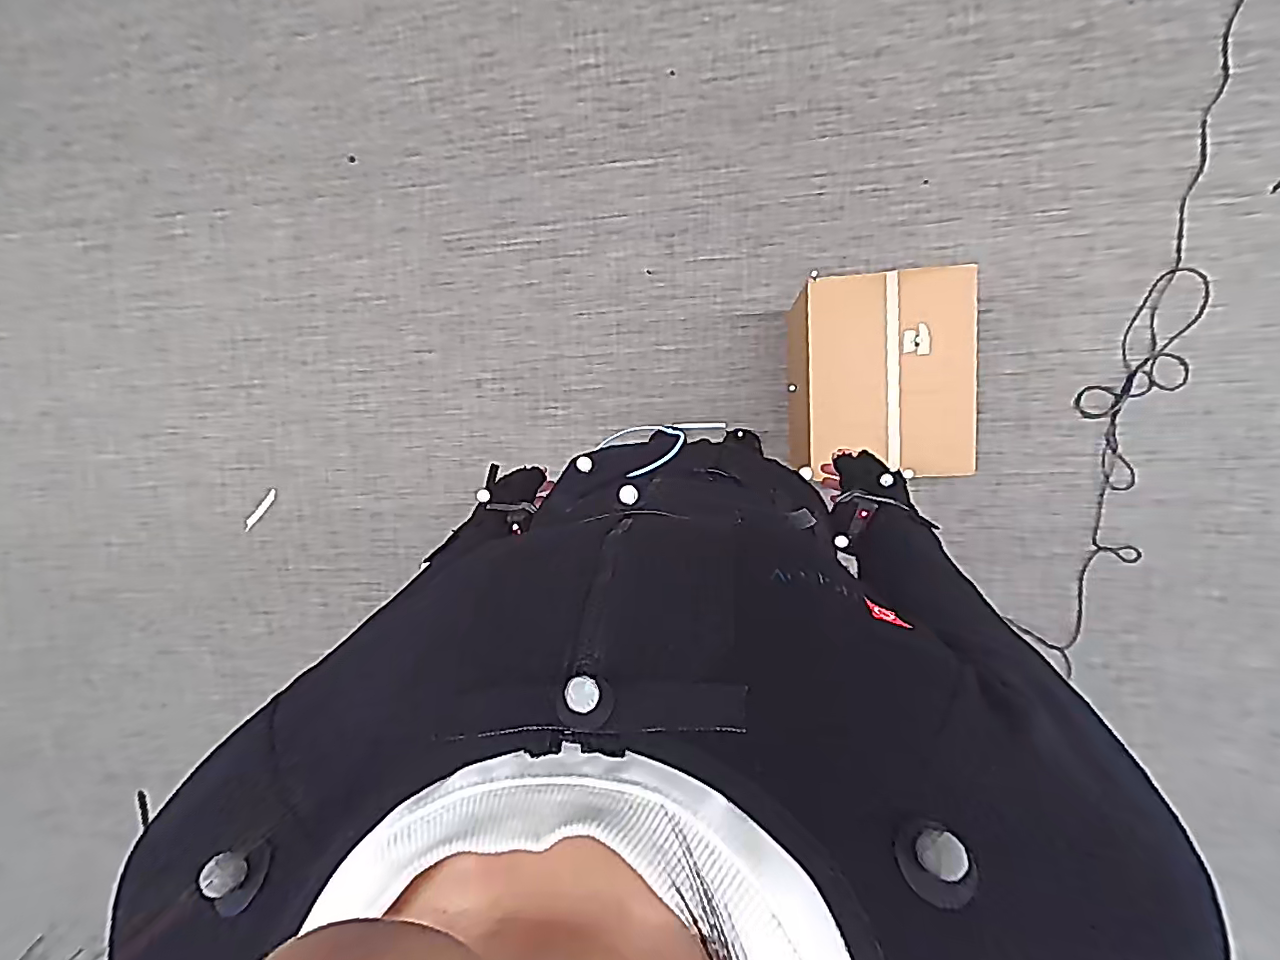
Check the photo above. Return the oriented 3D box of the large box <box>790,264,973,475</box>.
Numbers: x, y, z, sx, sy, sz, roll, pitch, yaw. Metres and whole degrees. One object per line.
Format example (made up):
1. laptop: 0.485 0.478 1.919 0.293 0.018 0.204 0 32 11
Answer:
1. large box: 0.518 -0.225 1.225 0.320 0.320 0.408 -2 94 7
